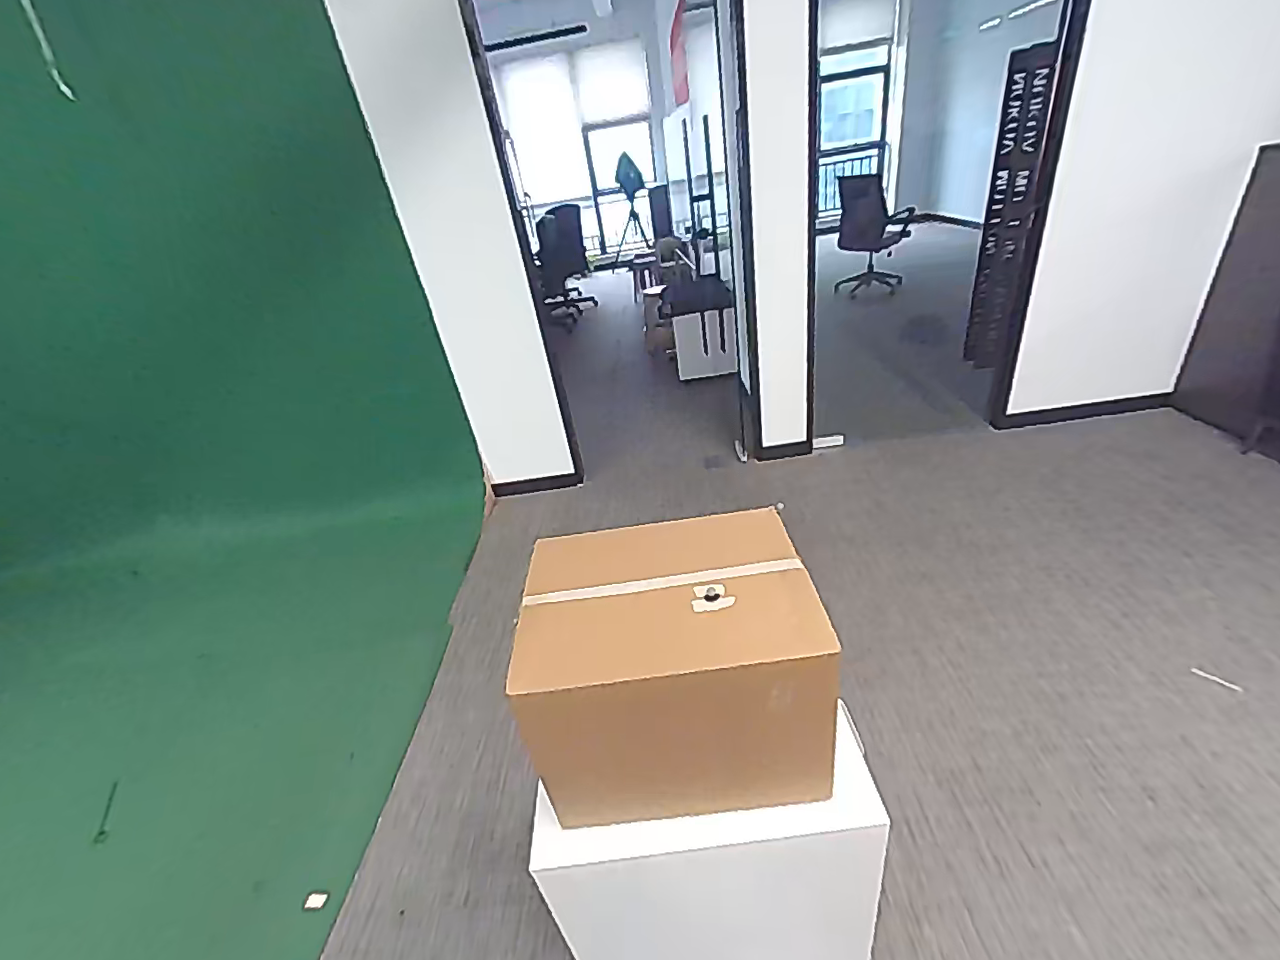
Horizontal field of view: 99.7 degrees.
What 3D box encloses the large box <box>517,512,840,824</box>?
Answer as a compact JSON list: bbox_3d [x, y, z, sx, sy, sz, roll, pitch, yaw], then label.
[{"bbox_3d":[0.054,0.282,0.850,0.408,0.320,0.320,-7,31,1],"label":"large box"}]
